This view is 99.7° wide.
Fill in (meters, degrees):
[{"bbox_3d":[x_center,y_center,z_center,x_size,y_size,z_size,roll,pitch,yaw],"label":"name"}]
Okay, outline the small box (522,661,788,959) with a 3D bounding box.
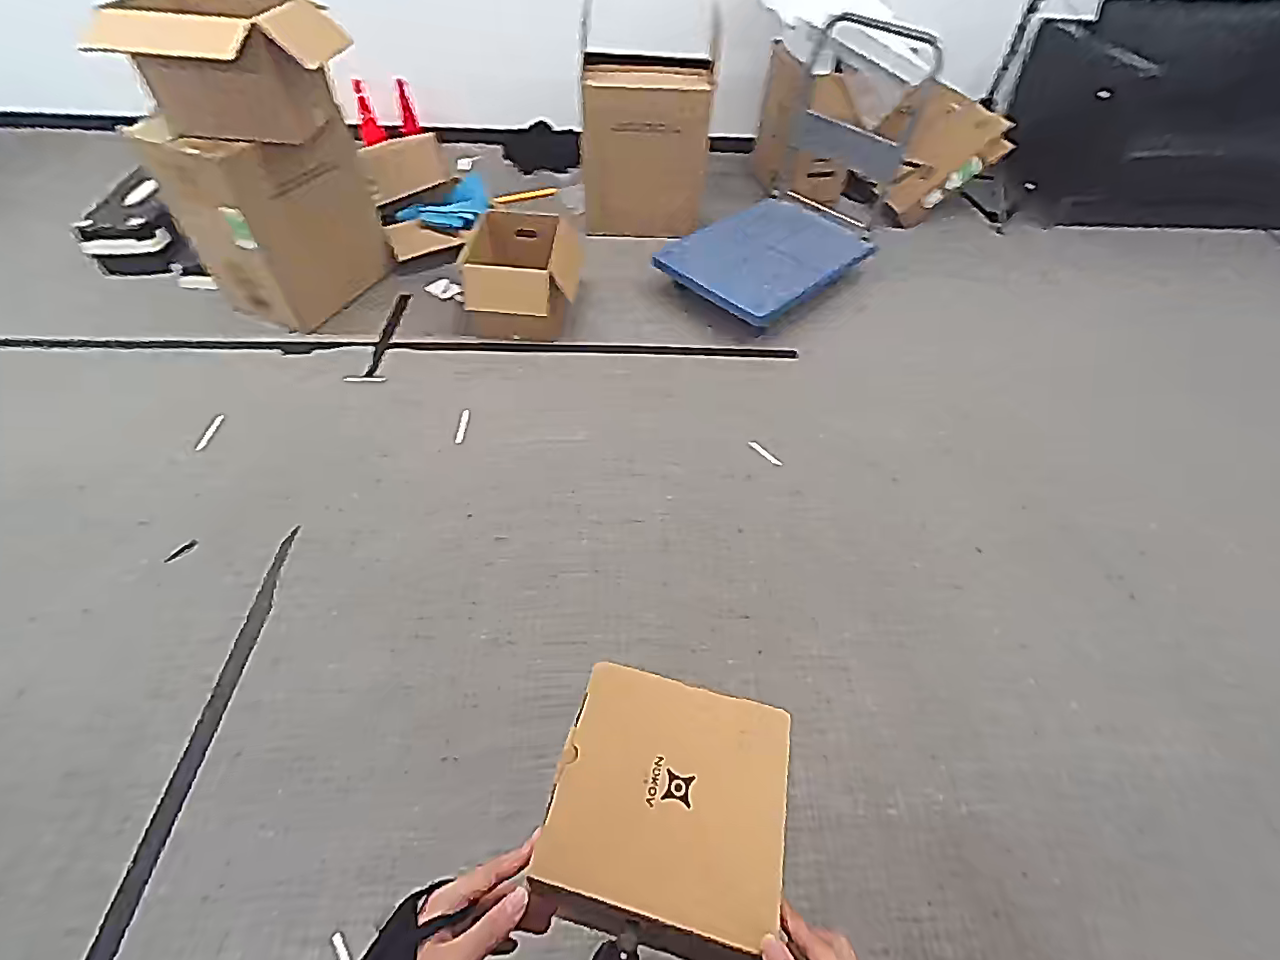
[{"bbox_3d":[0.017,0.288,0.467,0.179,0.176,0.168,11,45,7],"label":"small box"}]
